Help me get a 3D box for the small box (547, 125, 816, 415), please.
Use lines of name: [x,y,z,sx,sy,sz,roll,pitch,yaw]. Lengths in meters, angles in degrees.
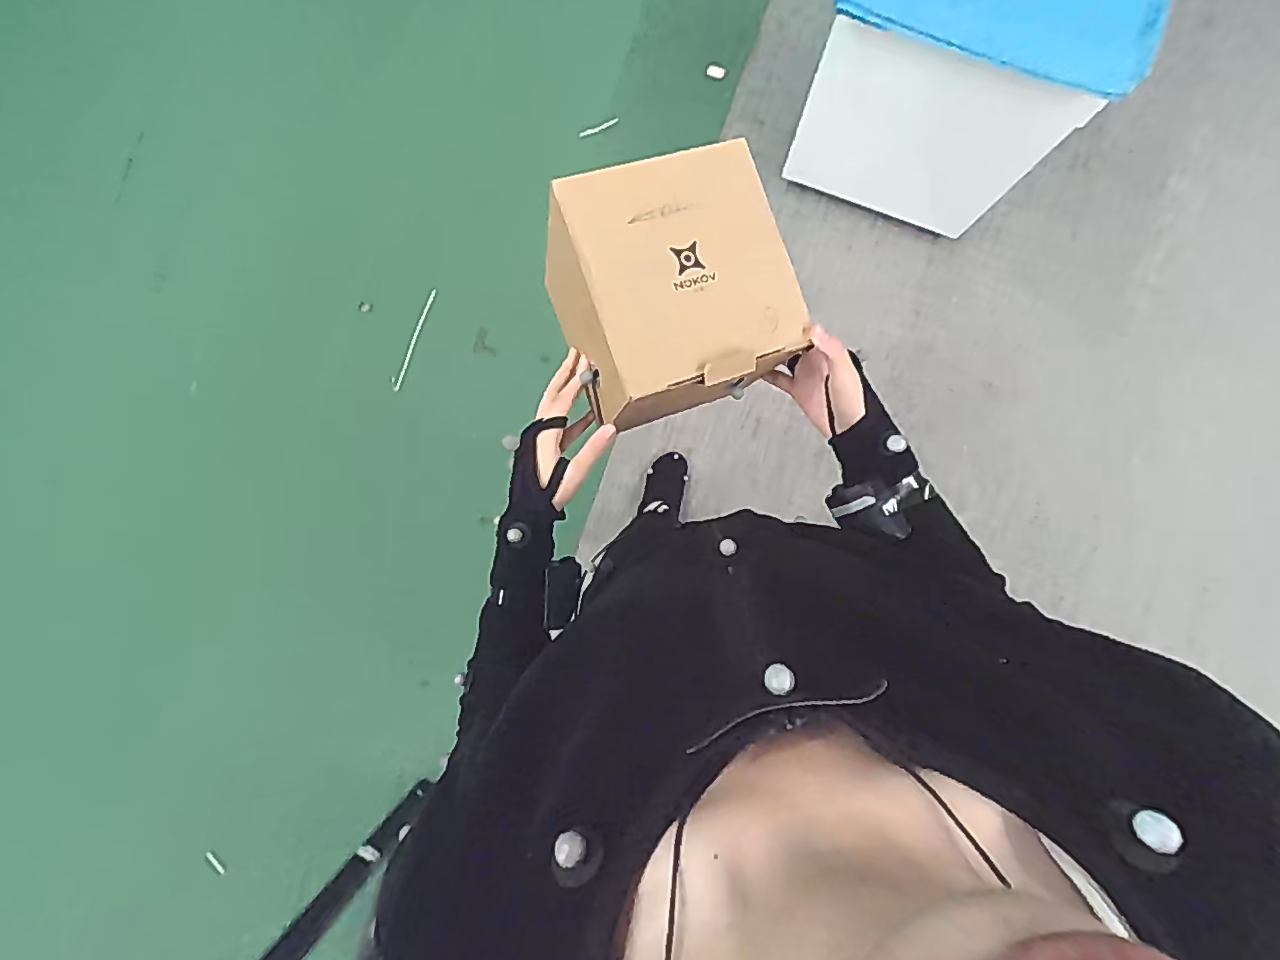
small box: [0.021,-0.165,0.481,0.168,0.176,0.179,-18,88,-13]
